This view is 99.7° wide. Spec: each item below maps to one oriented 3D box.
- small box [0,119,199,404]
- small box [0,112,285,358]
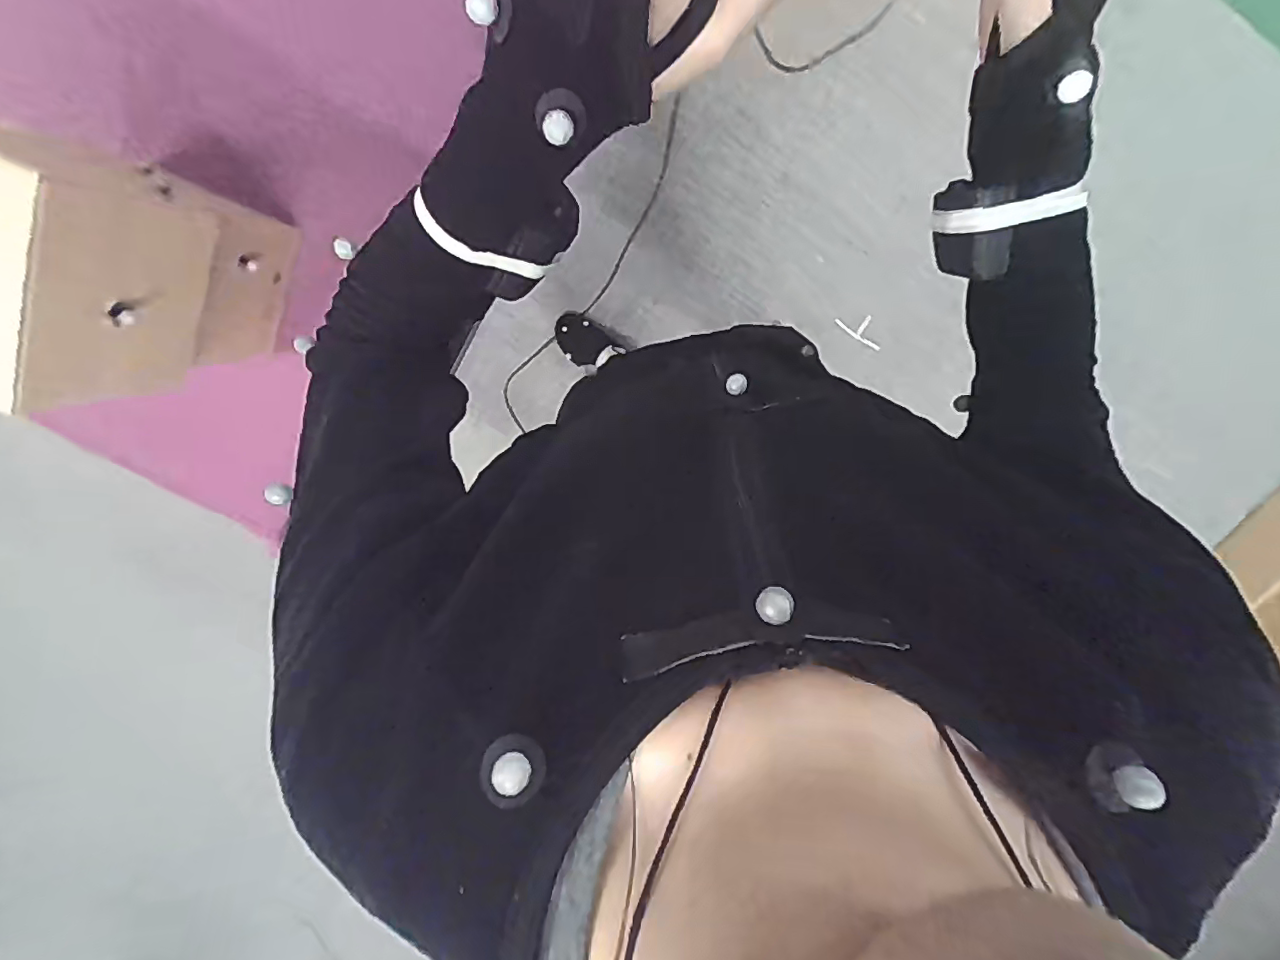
[{"bbox_3d":[-0.507,-0.185,0.435,0.168,0.176,0.179,23,106,-8],"label":"small box"},{"bbox_3d":[-0.531,-0.249,0.586,0.179,0.176,0.168,24,105,-7],"label":"small box"}]
